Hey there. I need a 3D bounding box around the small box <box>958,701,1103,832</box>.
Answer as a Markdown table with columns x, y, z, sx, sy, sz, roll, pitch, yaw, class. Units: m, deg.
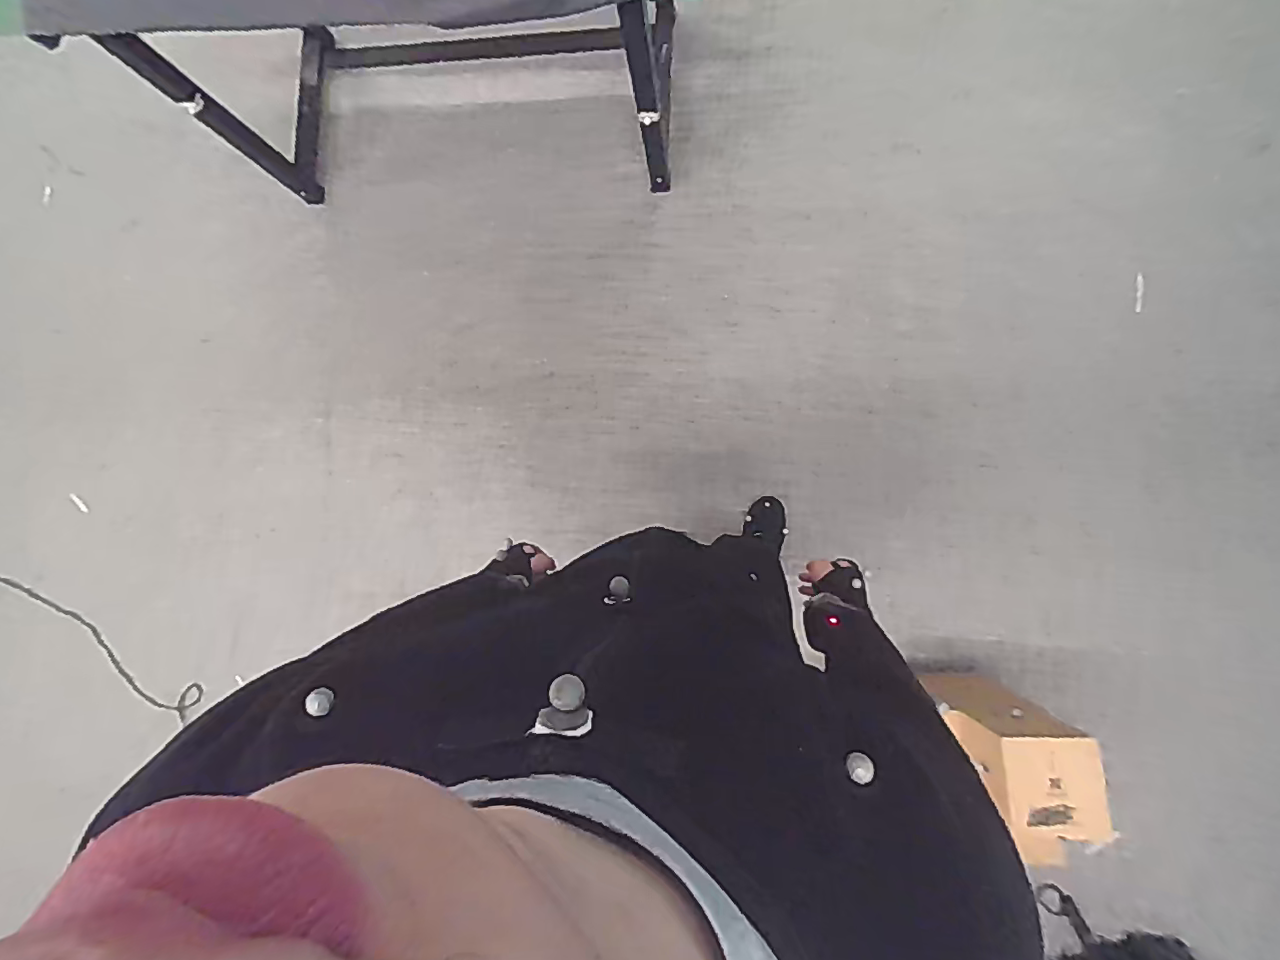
| x | y | z | sx | sy | sz | roll | pitch | yaw | class |
| --- | --- | --- | --- | --- | --- | --- | --- | --- | --- |
| 0.746 | 0.546 | 1.051 | 0.168 | 0.176 | 0.179 | -2 | 82 | 7 | small box |
